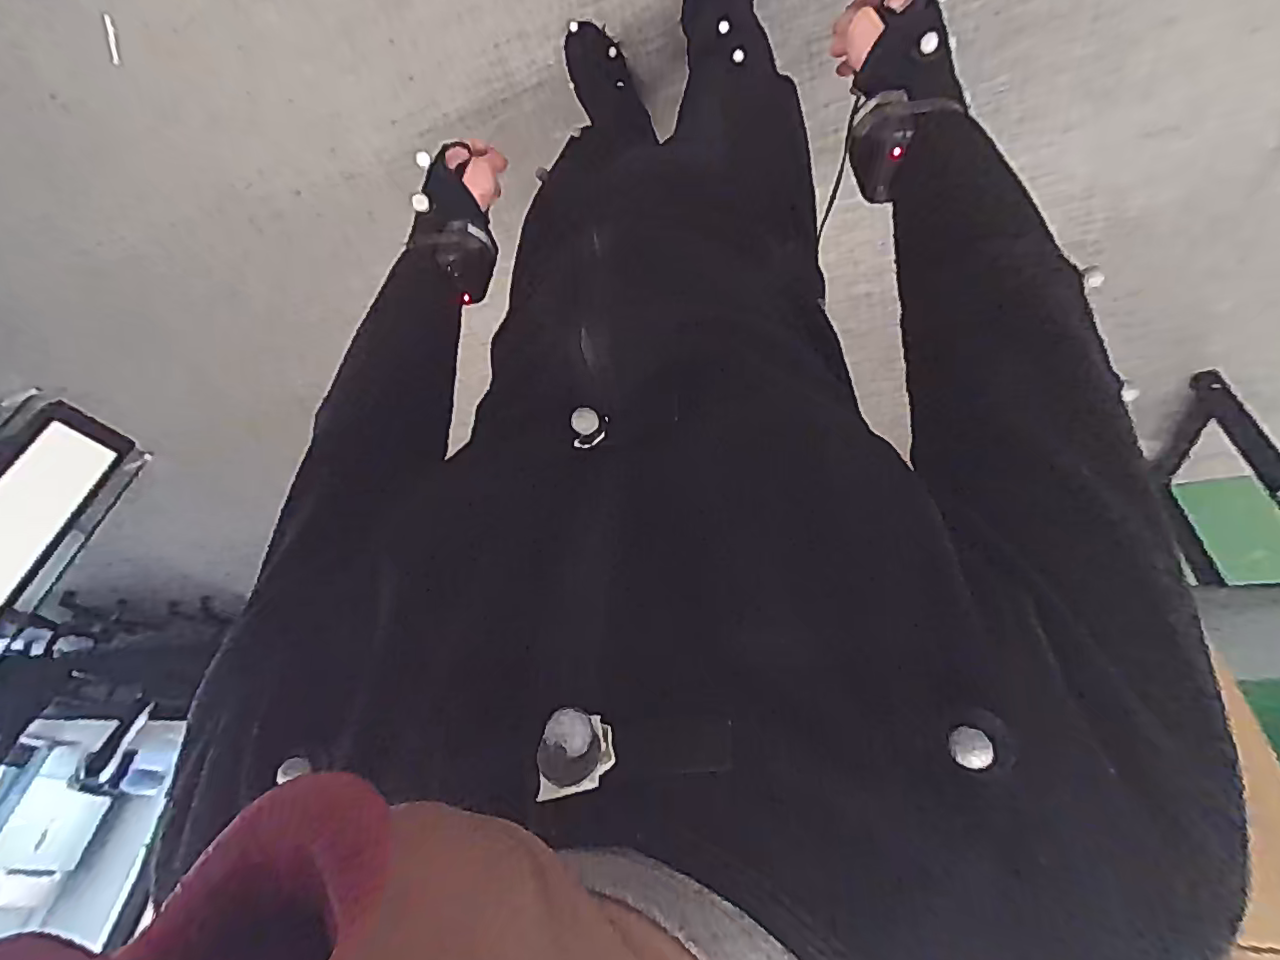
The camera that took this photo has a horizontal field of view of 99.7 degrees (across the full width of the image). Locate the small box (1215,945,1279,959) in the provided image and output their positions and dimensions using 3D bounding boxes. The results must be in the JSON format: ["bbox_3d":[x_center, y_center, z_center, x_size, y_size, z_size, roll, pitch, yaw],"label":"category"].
[{"bbox_3d":[1.260,0.991,1.010,0.179,0.176,0.168,-12,140,20],"label":"small box"}]
